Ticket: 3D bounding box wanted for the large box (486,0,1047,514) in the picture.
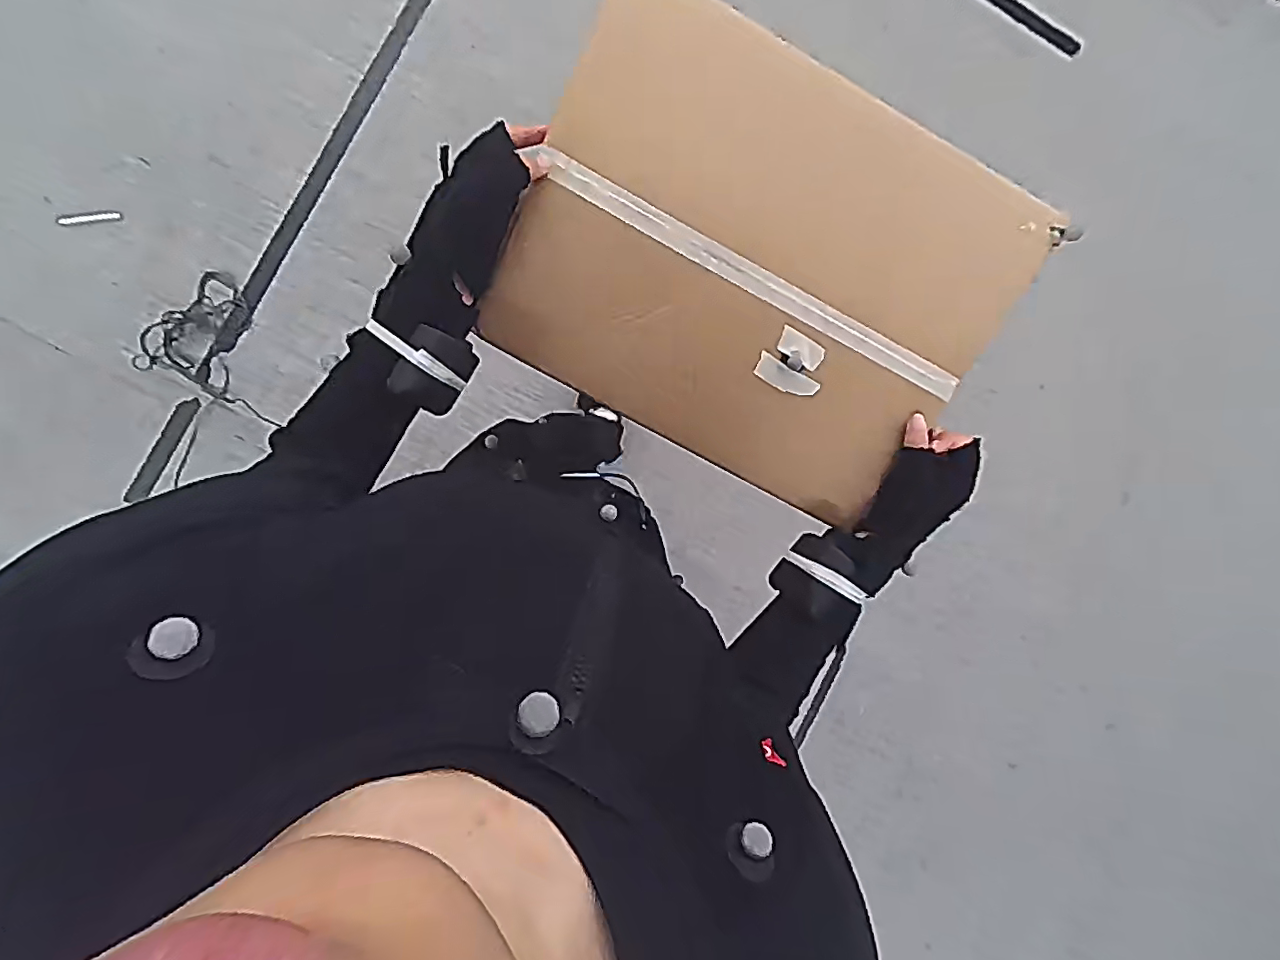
[{"bbox_3d":[0.104,-0.221,0.617,0.408,0.320,0.320,28,106,-6],"label":"large box"}]
